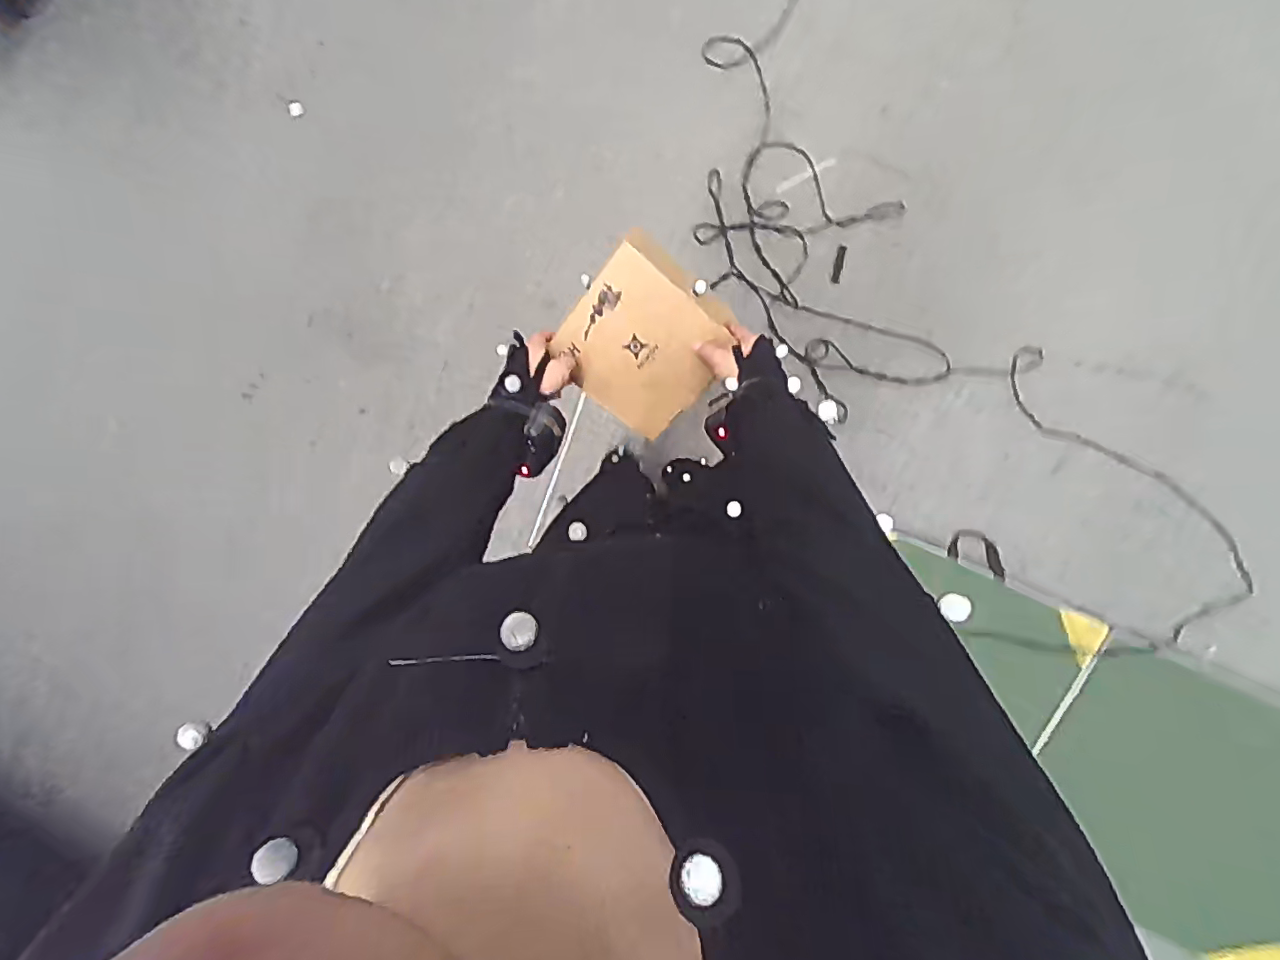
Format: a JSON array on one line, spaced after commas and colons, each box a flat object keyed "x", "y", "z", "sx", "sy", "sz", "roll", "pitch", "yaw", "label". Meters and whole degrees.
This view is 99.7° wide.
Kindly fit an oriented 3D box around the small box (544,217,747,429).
[{"x": 0.010, "y": -0.203, "z": 0.681, "sx": 0.179, "sy": 0.176, "sz": 0.168, "roll": 37, "pitch": 117, "yaw": -18, "label": "small box"}]
